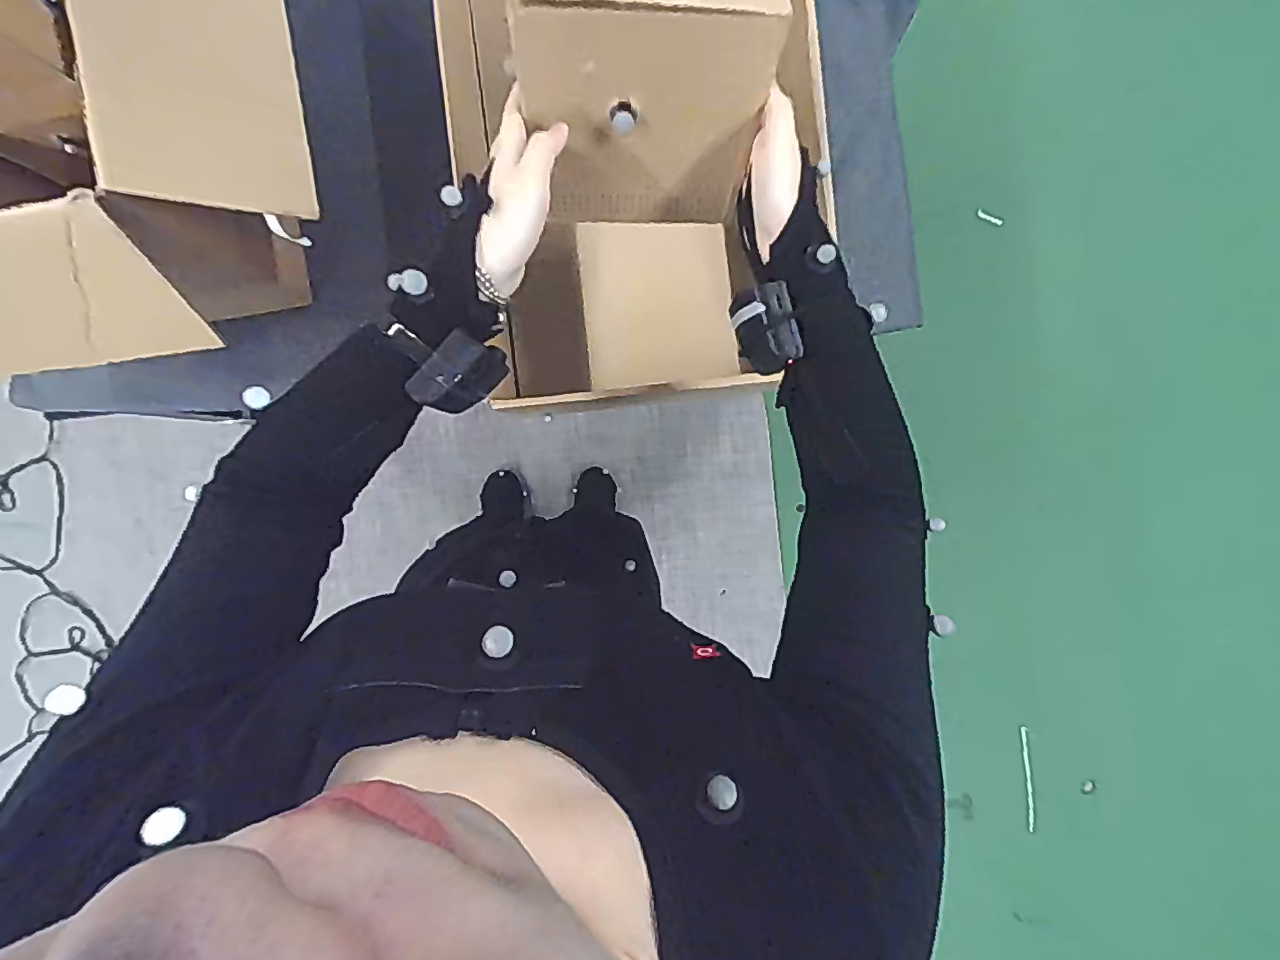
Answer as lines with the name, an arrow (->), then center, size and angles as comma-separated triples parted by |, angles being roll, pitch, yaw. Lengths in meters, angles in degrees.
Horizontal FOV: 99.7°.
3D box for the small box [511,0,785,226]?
small box -> -0.002, -0.331, 0.439 | 0.179, 0.176, 0.168 | -3, 71, -5
